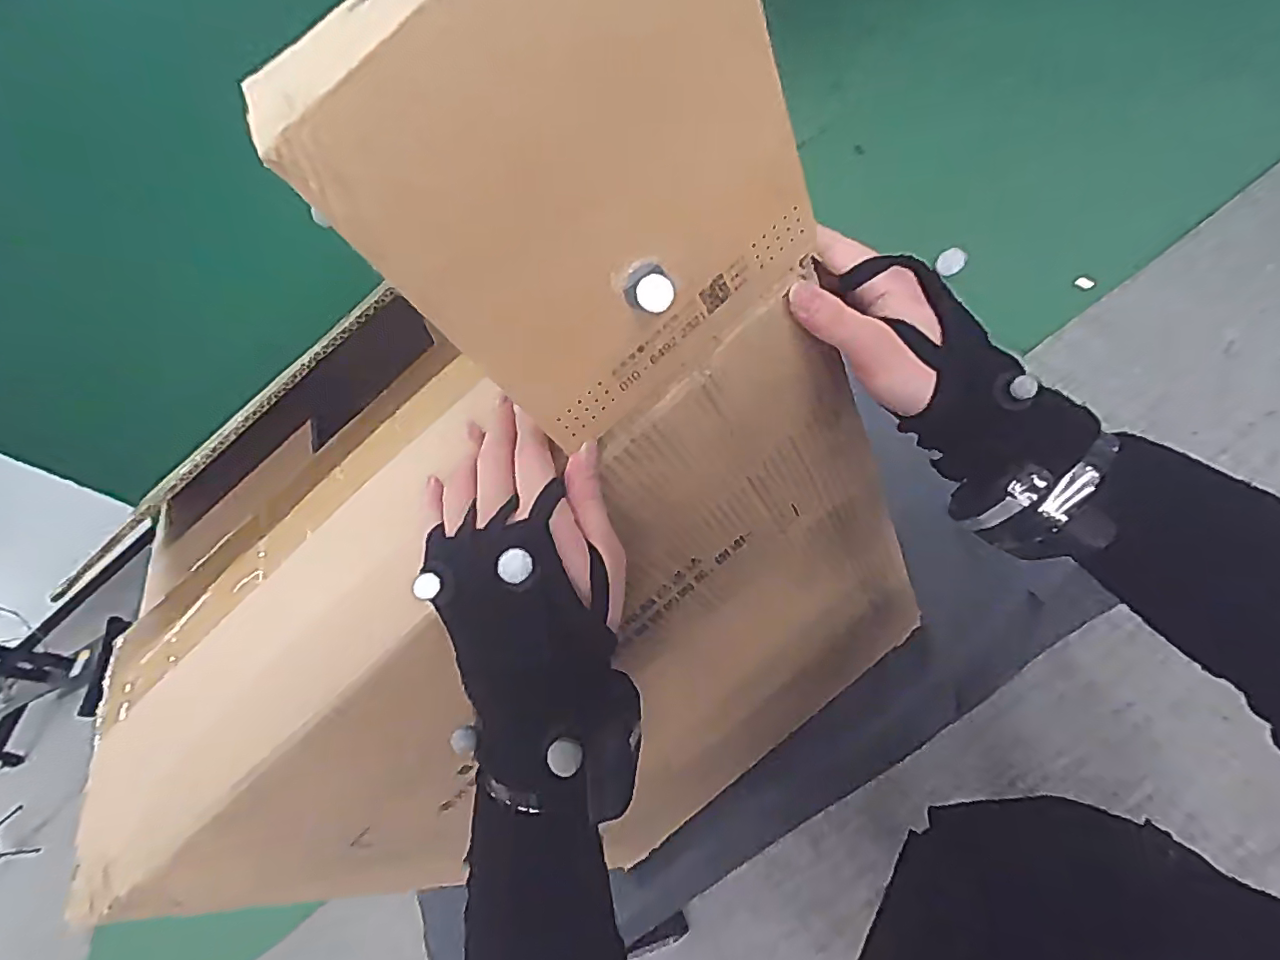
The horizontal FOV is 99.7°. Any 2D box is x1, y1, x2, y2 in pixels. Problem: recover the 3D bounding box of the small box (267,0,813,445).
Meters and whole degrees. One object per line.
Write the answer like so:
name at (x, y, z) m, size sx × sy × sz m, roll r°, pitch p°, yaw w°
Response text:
small box at (-0.044, -0.148, 0.269) m, size 0.168 × 0.176 × 0.179 m, roll -41°, pitch 50°, yaw 2°
